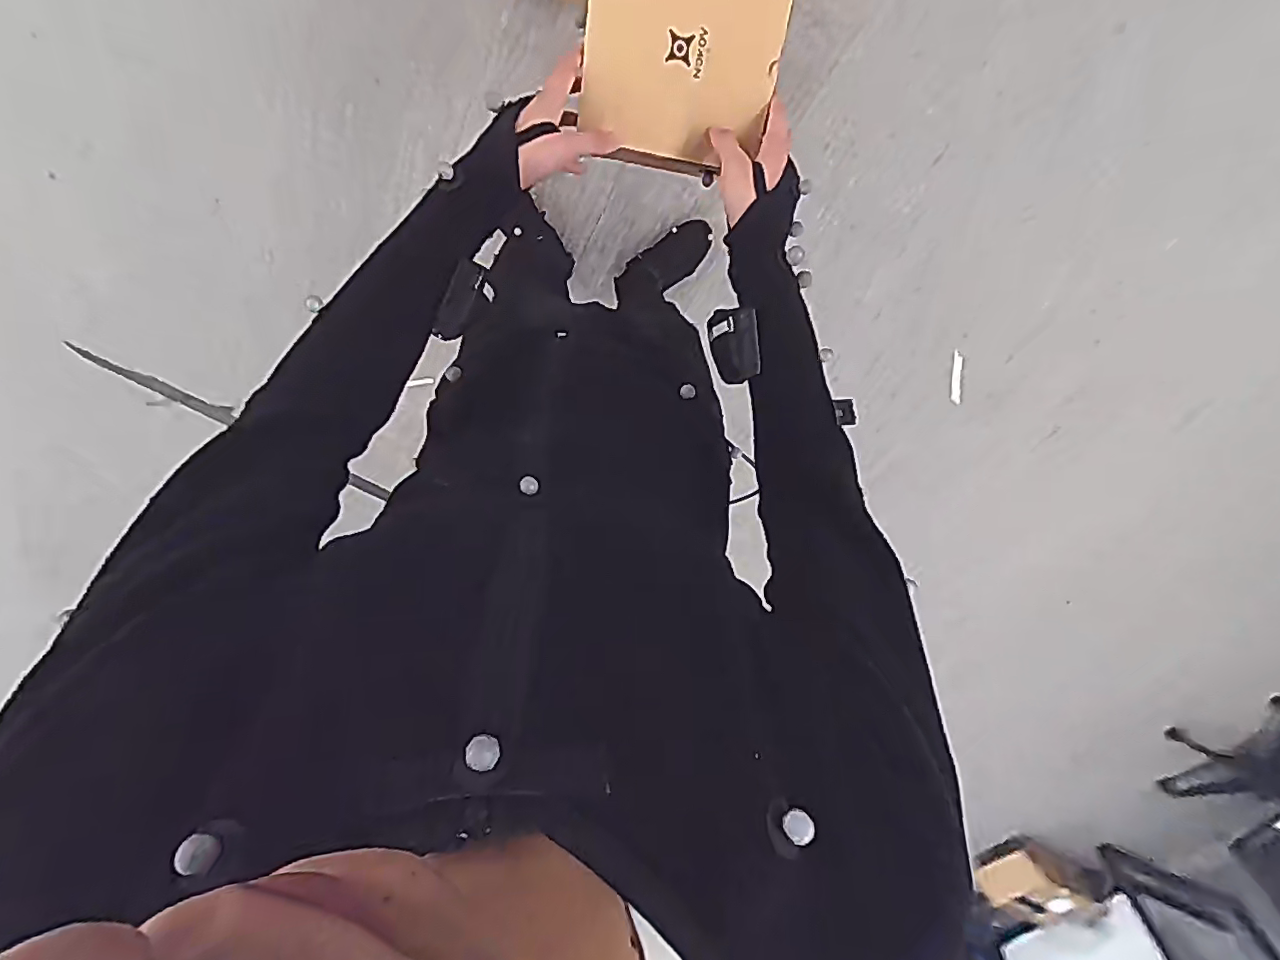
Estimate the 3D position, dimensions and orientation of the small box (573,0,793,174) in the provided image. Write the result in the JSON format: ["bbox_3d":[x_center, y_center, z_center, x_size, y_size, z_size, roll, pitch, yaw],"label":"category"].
[{"bbox_3d":[0.030,-0.409,0.534,0.179,0.176,0.168,5,118,-9],"label":"small box"}]
